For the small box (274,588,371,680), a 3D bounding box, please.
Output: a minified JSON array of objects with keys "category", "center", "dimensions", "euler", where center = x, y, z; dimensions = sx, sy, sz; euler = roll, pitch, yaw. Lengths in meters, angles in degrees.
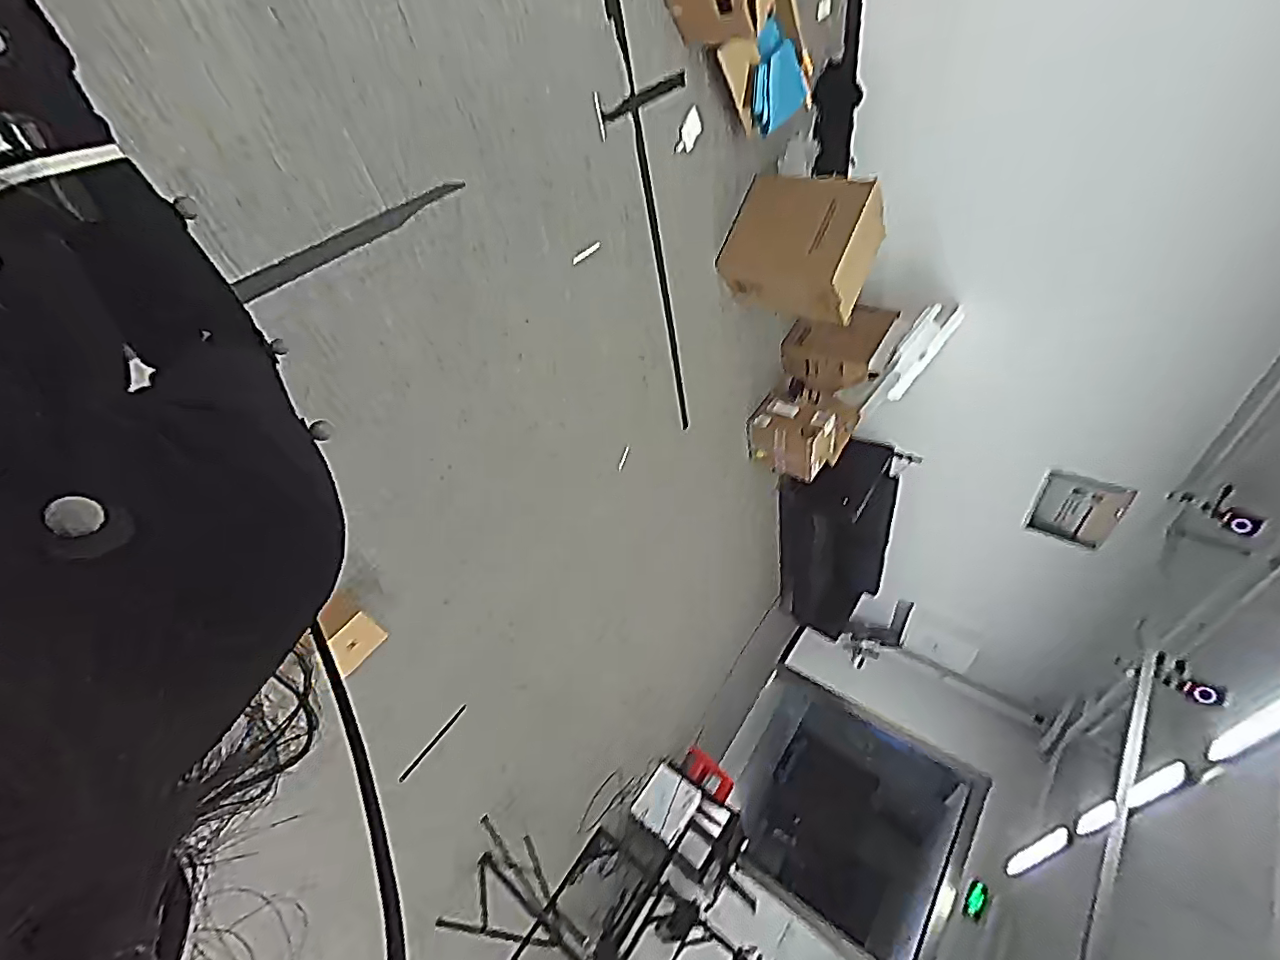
[{"category":"small box","center":[-0.975,0.466,1.652],"dimensions":[0.179,0.176,0.168],"euler":[-49,146,-29]}]
